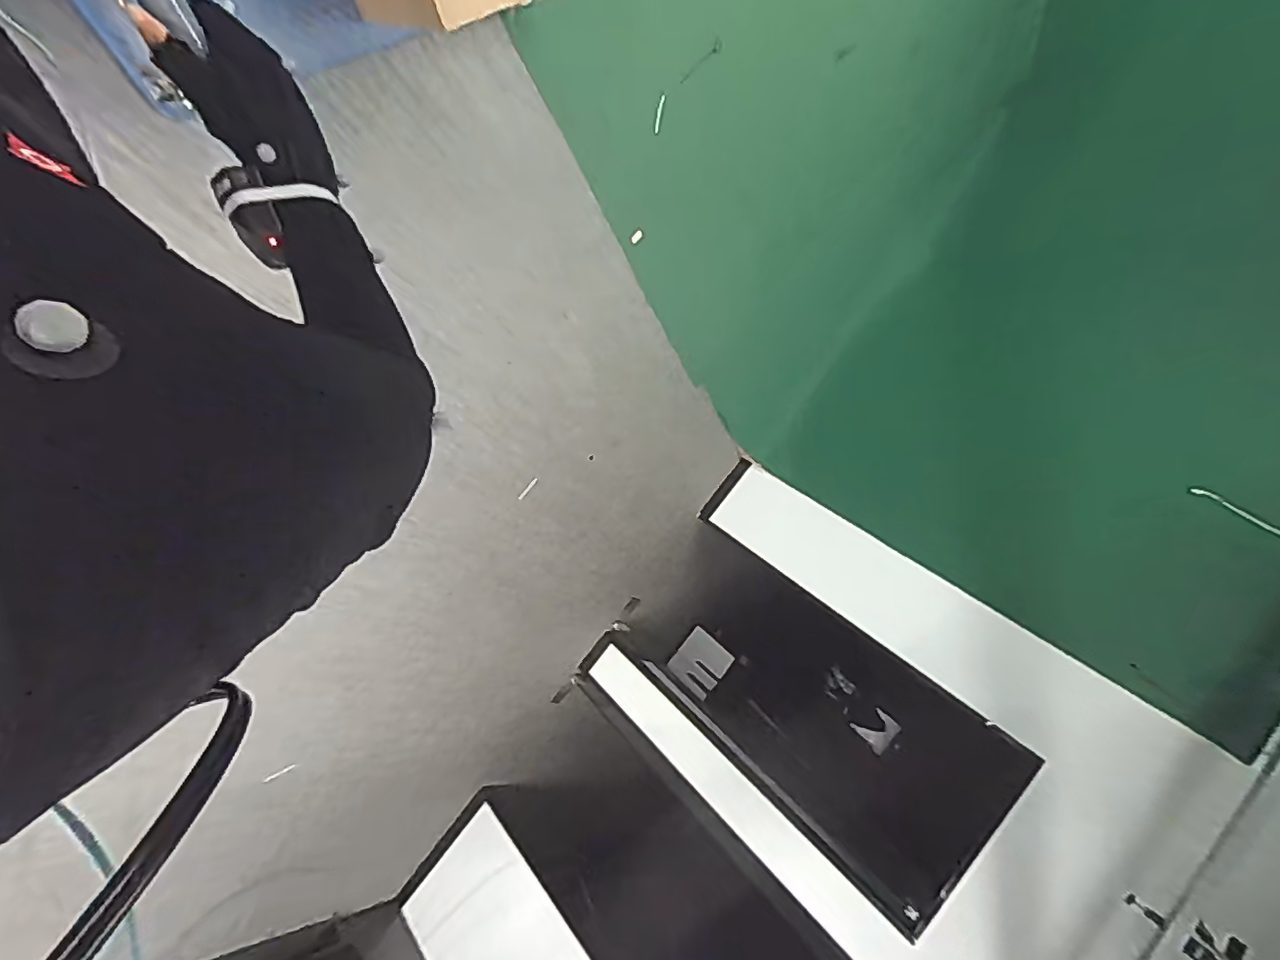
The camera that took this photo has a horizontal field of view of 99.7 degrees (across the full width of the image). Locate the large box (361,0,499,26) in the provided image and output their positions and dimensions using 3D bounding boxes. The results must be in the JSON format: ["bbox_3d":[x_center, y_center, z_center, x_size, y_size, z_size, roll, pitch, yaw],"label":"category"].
[{"bbox_3d":[-0.327,-0.974,0.792,0.320,0.320,0.408,-42,145,-18],"label":"large box"}]
